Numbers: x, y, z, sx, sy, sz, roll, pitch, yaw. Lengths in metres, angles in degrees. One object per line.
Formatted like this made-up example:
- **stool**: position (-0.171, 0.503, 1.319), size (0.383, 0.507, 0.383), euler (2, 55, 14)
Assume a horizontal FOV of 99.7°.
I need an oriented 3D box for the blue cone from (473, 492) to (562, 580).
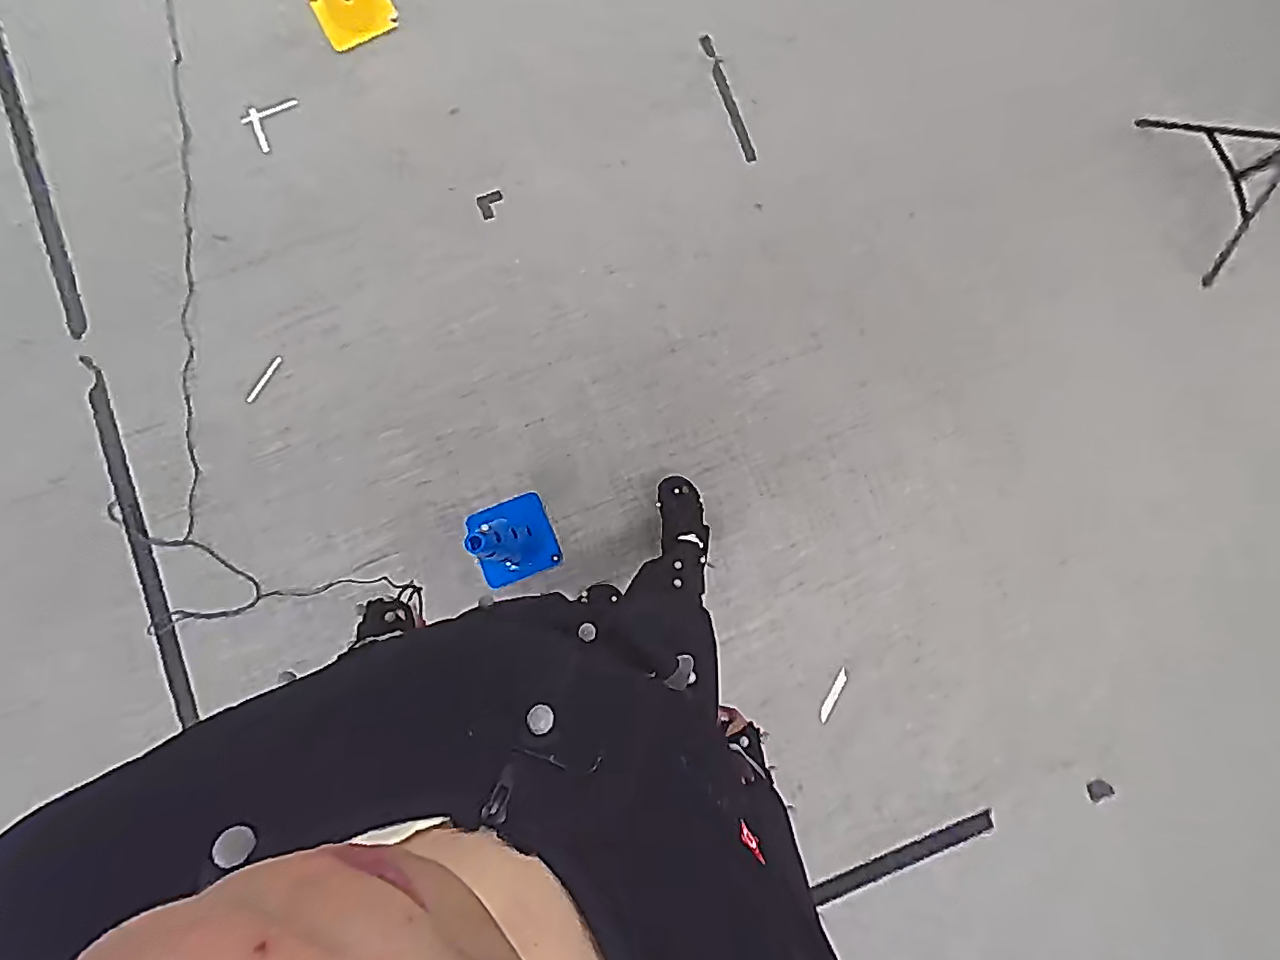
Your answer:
- **blue cone**: position (-0.308, 0.126, 1.199), size (0.192, 0.380, 0.193), euler (-20, 85, -4)
